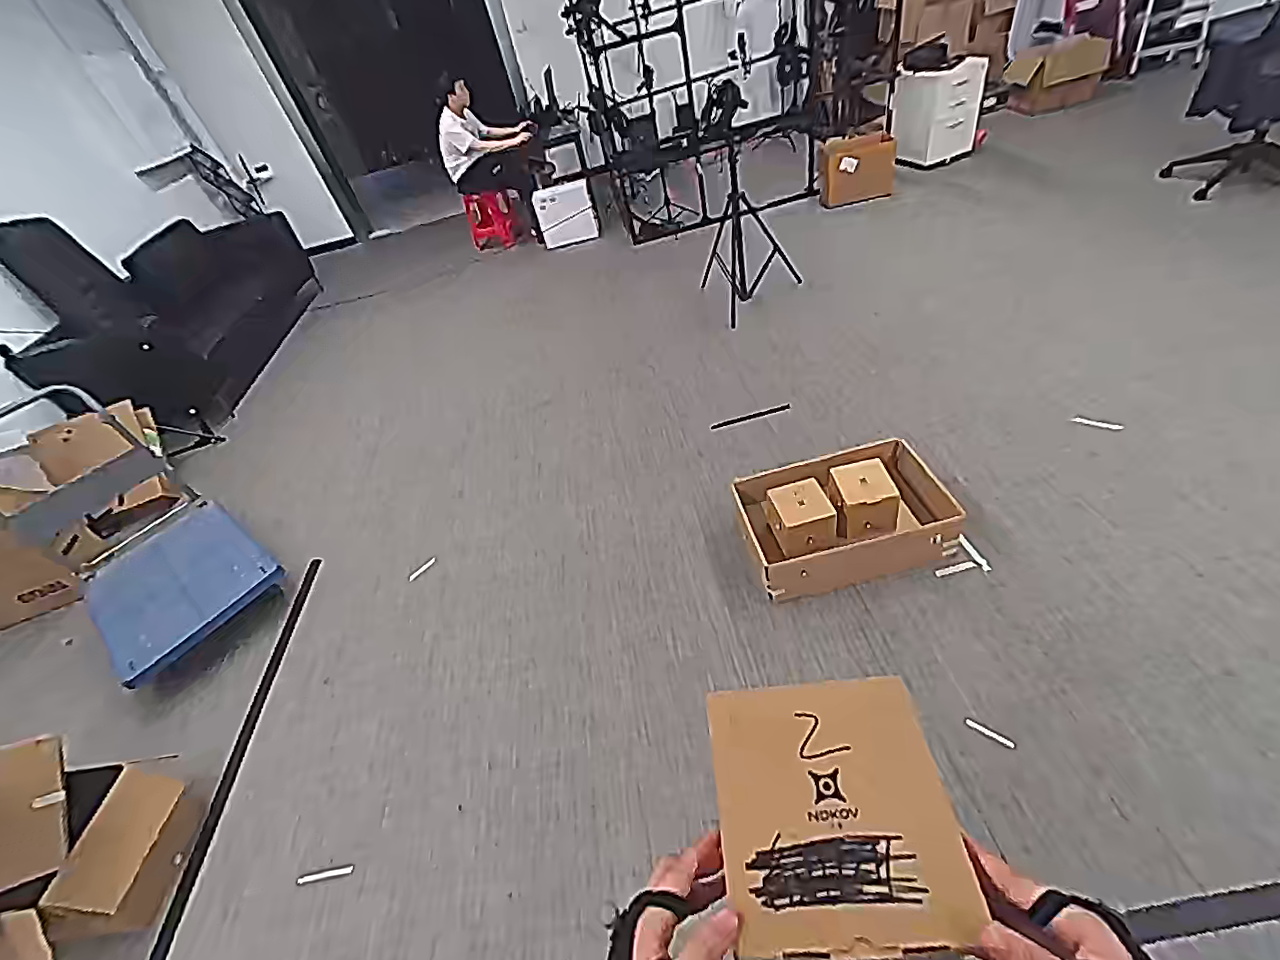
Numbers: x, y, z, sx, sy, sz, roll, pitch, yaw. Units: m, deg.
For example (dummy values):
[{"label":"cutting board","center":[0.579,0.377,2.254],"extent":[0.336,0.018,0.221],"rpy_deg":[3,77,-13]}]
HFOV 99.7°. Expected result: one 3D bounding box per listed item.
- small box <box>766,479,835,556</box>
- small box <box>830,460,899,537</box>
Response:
[{"label":"small box","center":[0.527,0.130,1.779],"extent":[0.168,0.176,0.179],"rpy_deg":[-15,42,-1]},{"label":"small box","center":[0.734,0.064,1.789],"extent":[0.168,0.176,0.179],"rpy_deg":[-12,43,6]}]
